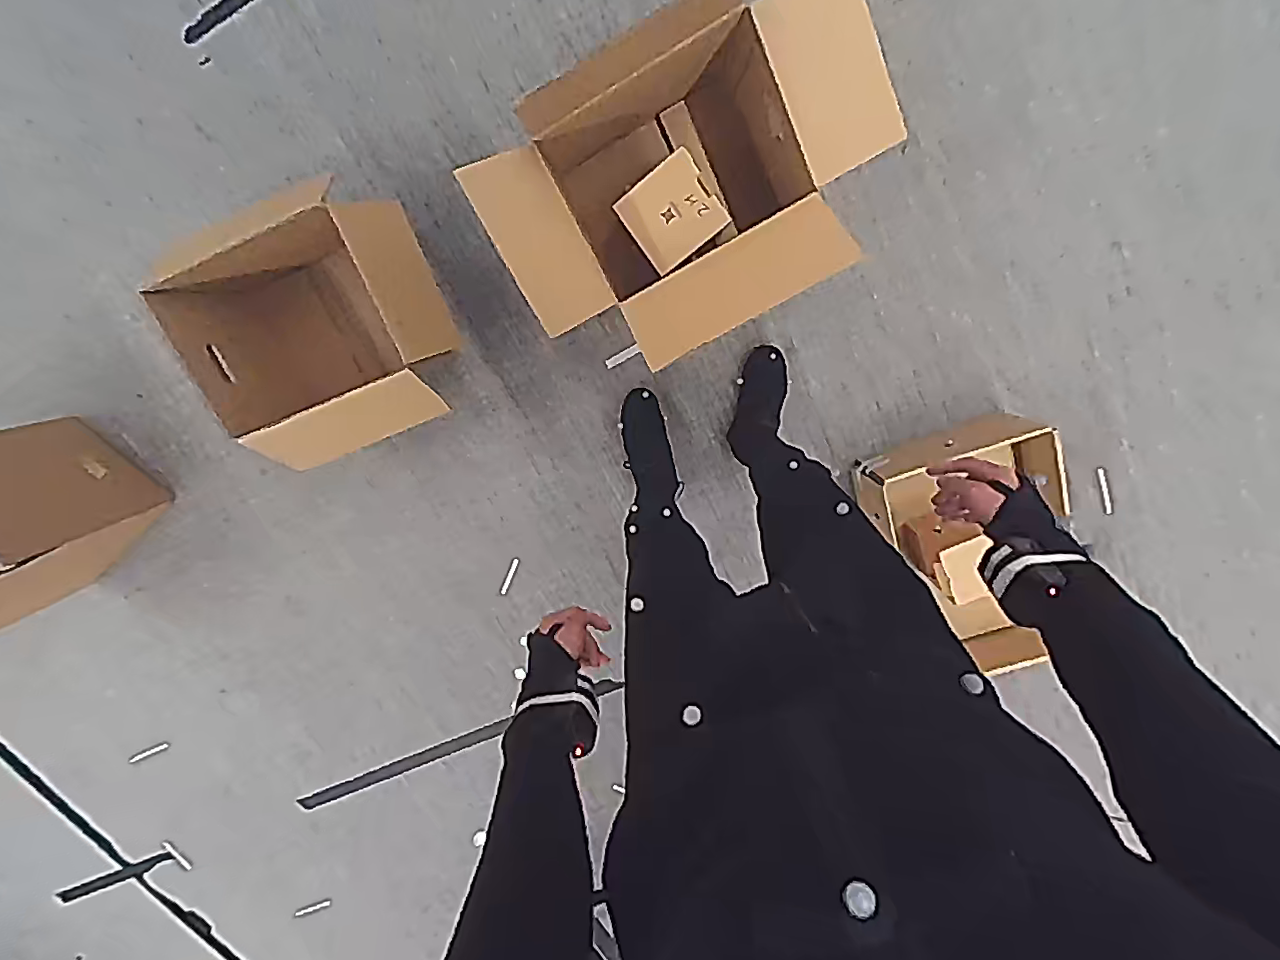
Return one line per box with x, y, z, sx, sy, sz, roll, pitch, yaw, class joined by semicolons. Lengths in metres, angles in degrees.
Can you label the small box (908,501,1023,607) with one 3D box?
0.791;0.178;1.335;0.179;0.176;0.168;-24;108;8;small box
